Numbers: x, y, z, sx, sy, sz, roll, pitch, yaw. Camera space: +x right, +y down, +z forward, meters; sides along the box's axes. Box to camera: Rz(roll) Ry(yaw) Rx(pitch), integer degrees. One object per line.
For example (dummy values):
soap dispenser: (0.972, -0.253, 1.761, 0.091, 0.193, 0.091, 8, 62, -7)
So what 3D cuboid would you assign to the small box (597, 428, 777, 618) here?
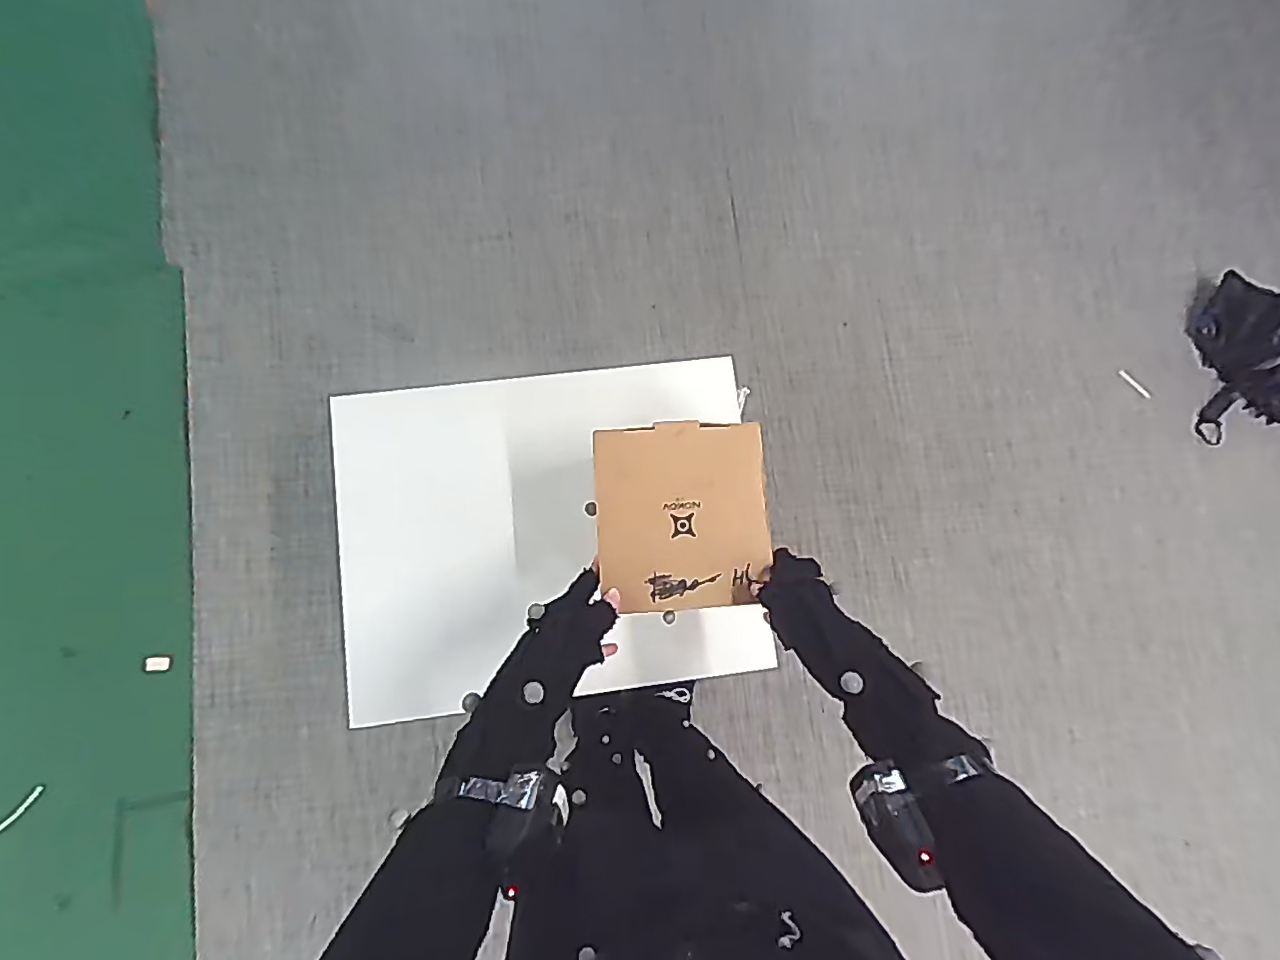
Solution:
small box: (0.039, 0.050, 0.594, 0.168, 0.176, 0.179, -4, 83, -3)
